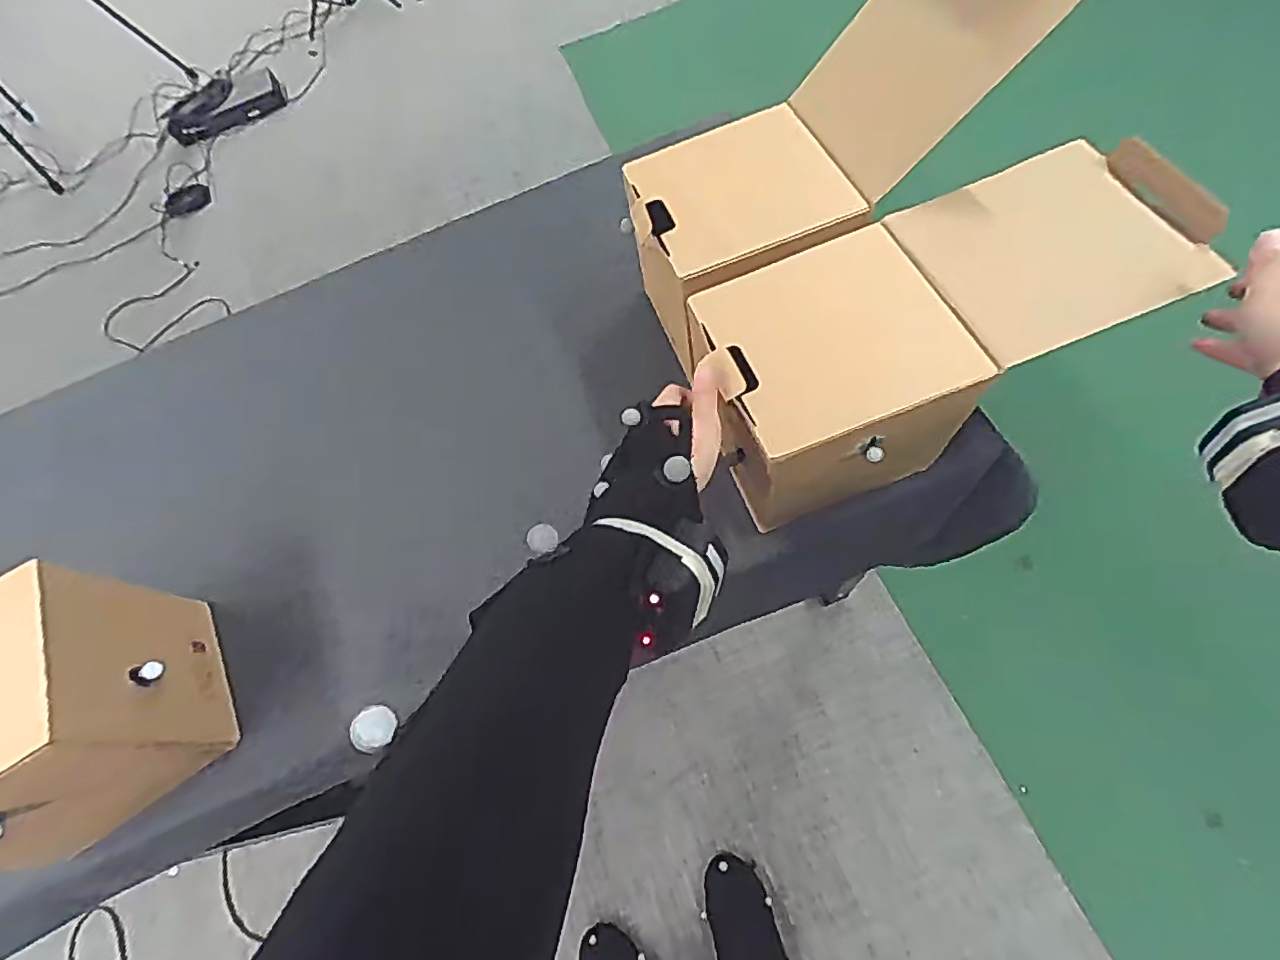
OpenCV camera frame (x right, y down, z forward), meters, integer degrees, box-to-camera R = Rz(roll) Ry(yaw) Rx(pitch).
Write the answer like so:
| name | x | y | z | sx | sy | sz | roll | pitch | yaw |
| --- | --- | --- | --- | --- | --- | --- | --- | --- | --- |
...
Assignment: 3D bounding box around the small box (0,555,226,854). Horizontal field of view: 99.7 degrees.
| name | x | y | z | sx | sy | sz | roll | pitch | yaw |
| --- | --- | --- | --- | --- | --- | --- | --- | --- | --- |
| small box | -0.506 | 0.197 | 0.471 | 0.179 | 0.176 | 0.168 | -34 | 64 | -6 |
